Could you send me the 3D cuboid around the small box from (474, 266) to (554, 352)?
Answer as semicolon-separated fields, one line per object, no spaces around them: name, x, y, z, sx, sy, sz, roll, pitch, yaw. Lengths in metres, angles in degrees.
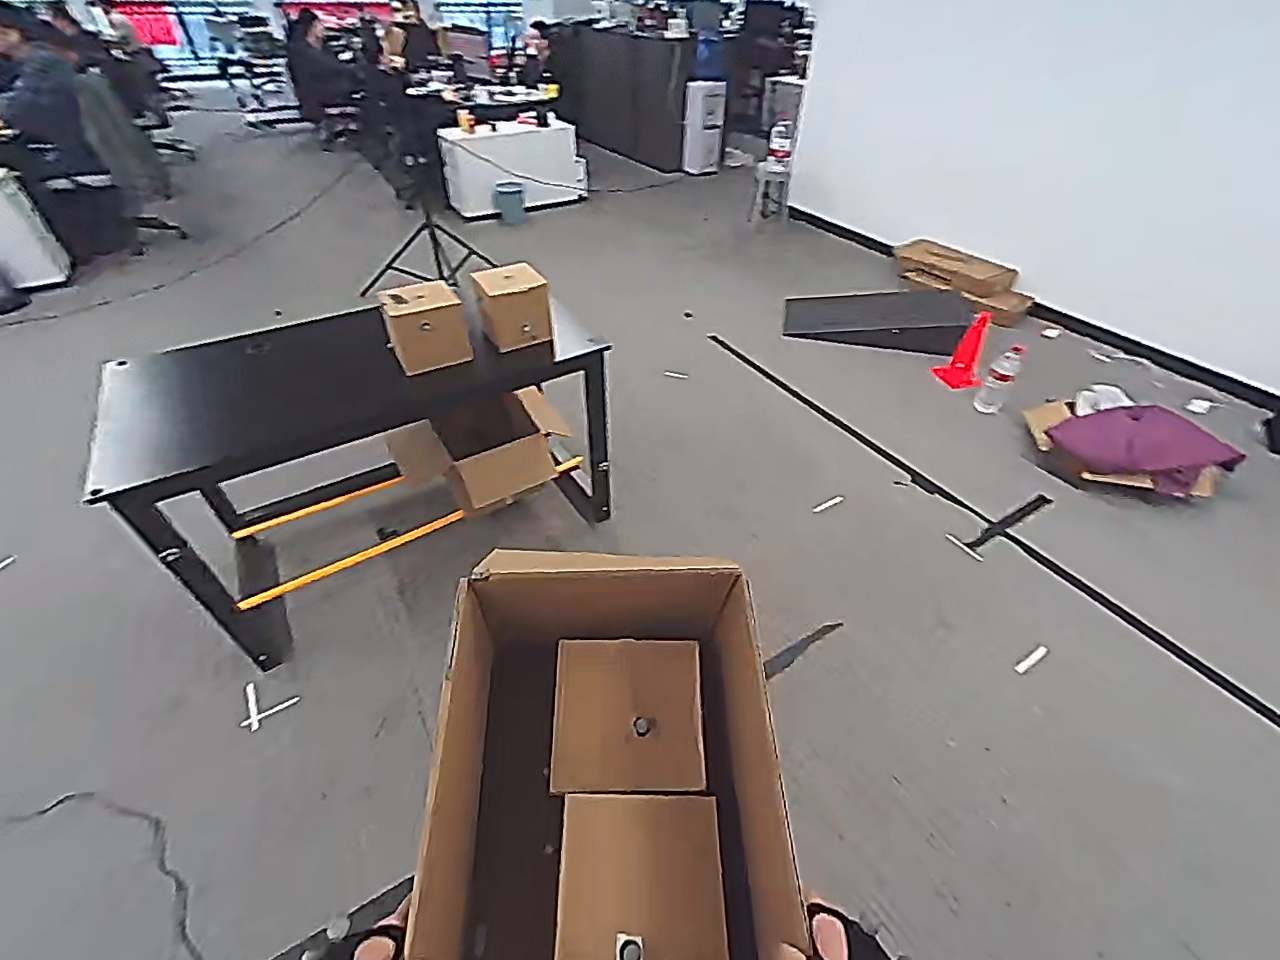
small box;-0.357;-0.488;1.544;0.168;0.176;0.179;-22;47;-22

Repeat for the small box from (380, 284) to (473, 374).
small box;-0.568;-0.404;1.451;0.179;0.176;0.168;-21;47;-23
